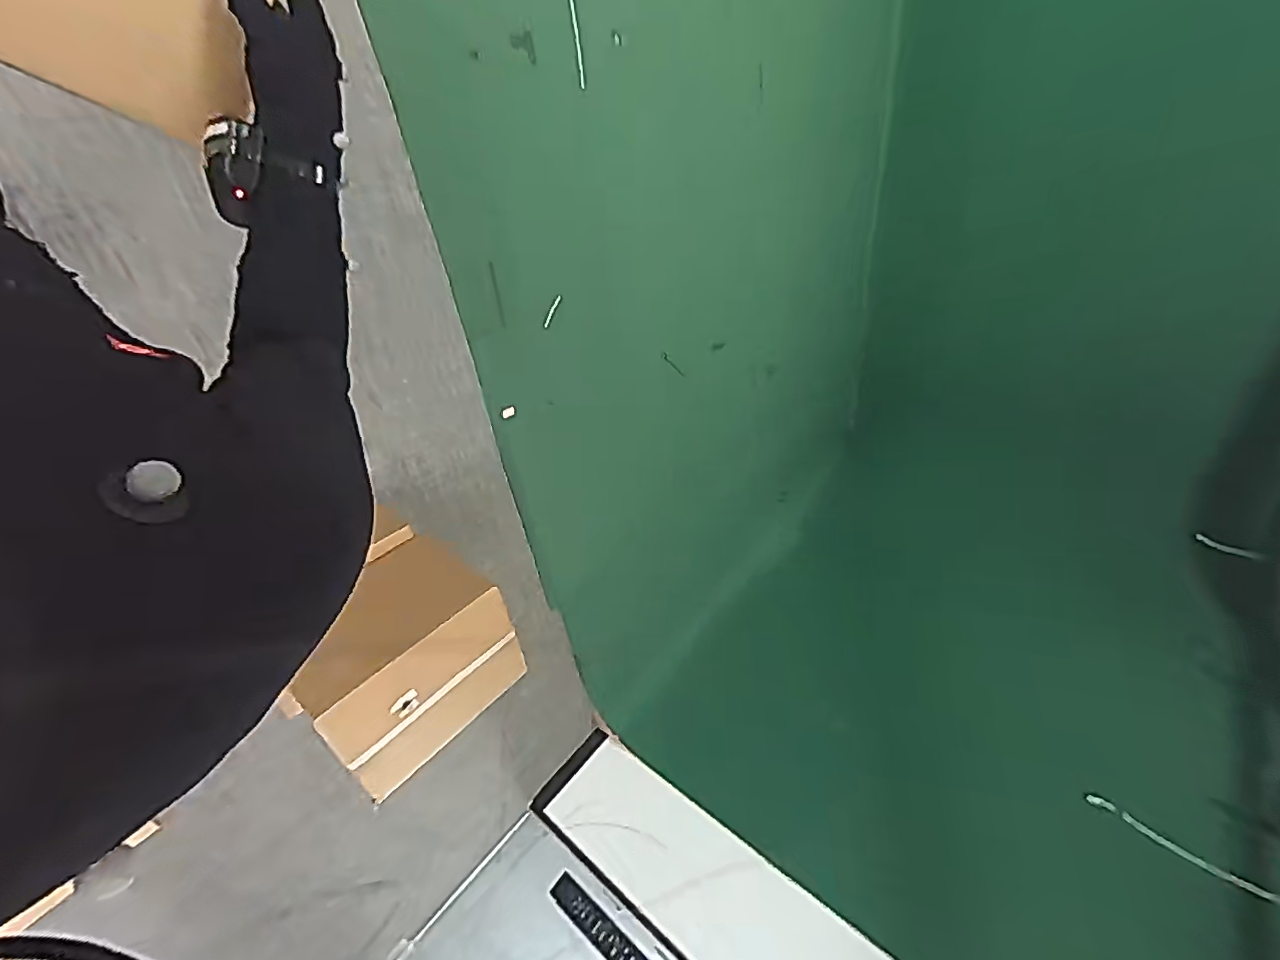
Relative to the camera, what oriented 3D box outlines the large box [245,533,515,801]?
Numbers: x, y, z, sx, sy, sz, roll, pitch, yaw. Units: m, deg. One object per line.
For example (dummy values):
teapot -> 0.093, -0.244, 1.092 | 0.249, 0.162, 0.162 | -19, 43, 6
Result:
large box -> -0.556, 0.390, 1.214 | 0.408, 0.320, 0.320 | -36, 136, -36
